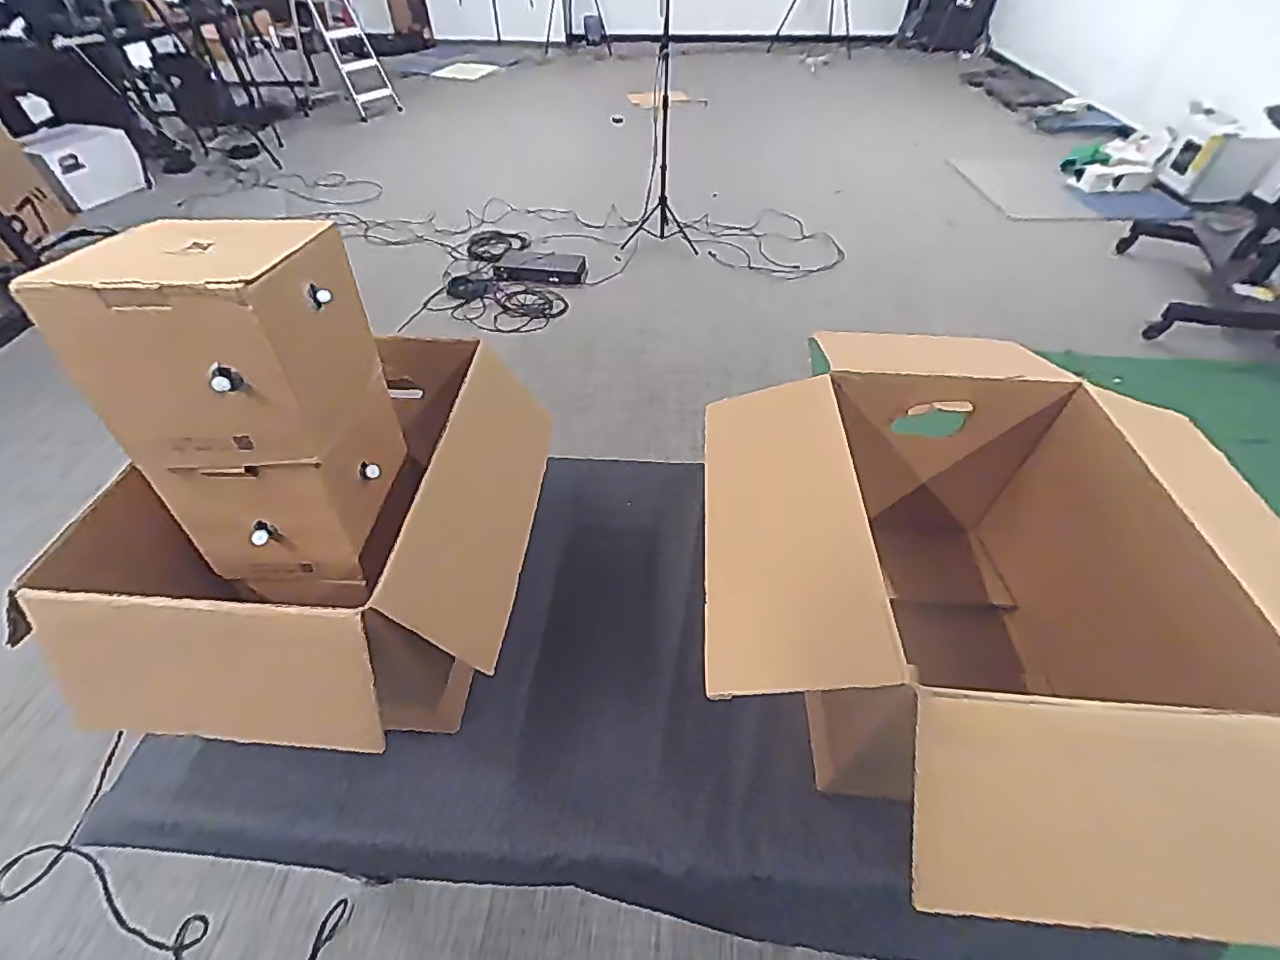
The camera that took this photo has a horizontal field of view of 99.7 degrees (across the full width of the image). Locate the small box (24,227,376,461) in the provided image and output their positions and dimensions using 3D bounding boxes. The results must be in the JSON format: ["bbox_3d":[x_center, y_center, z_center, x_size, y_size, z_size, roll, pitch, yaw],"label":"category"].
[{"bbox_3d":[-0.377,-0.130,0.514,0.168,0.176,0.179,0,38,-3],"label":"small box"}]
